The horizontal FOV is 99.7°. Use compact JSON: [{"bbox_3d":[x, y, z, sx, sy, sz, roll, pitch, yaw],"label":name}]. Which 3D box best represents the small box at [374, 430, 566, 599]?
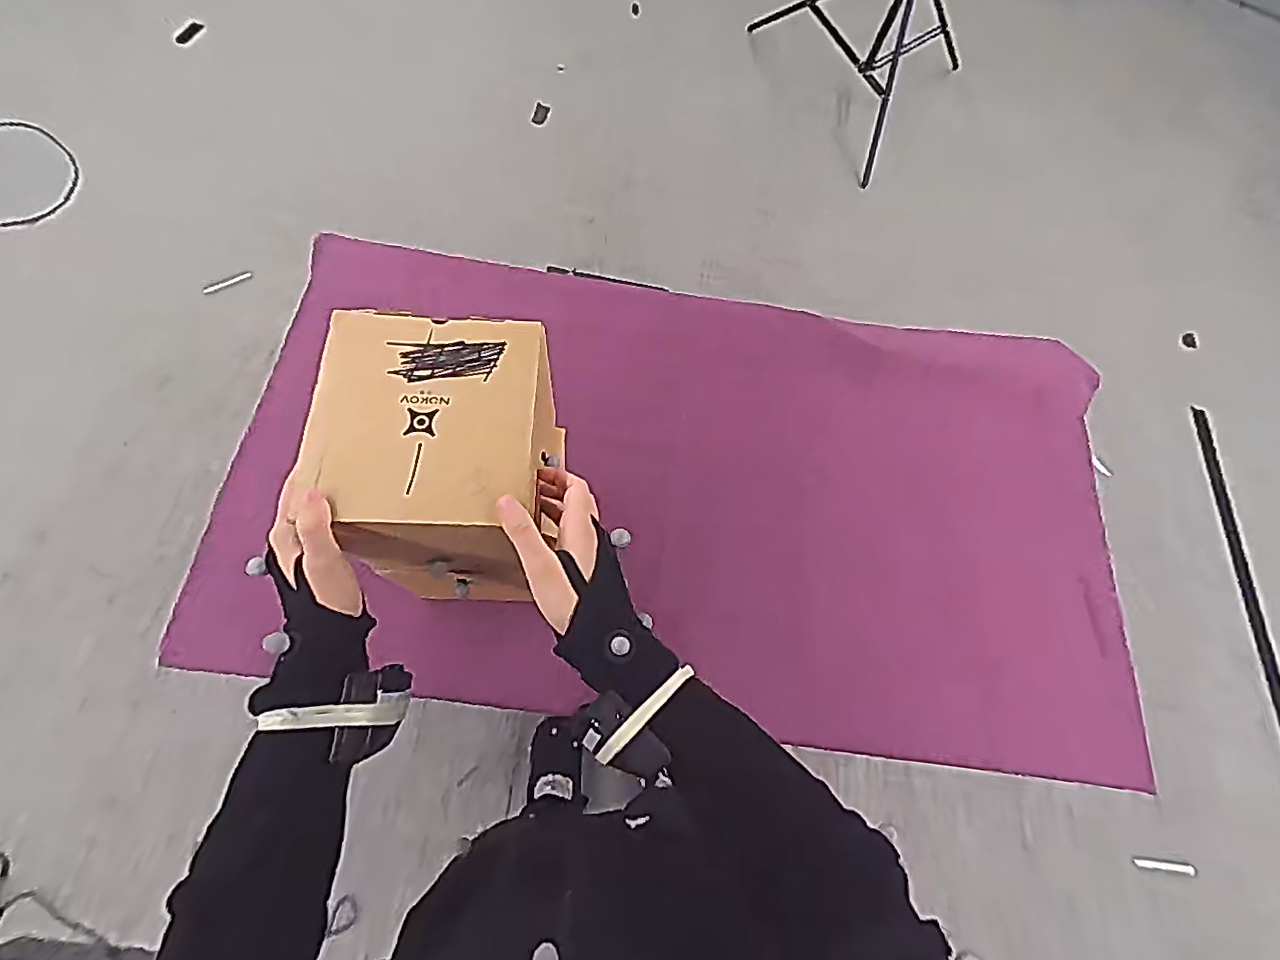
[{"bbox_3d":[-0.179,0.044,0.633,0.179,0.176,0.168,2,70,-5],"label":"small box"}]

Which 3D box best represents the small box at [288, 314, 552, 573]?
[{"bbox_3d":[-0.169,-0.021,0.483,0.168,0.176,0.179,2,70,-5],"label":"small box"}]
